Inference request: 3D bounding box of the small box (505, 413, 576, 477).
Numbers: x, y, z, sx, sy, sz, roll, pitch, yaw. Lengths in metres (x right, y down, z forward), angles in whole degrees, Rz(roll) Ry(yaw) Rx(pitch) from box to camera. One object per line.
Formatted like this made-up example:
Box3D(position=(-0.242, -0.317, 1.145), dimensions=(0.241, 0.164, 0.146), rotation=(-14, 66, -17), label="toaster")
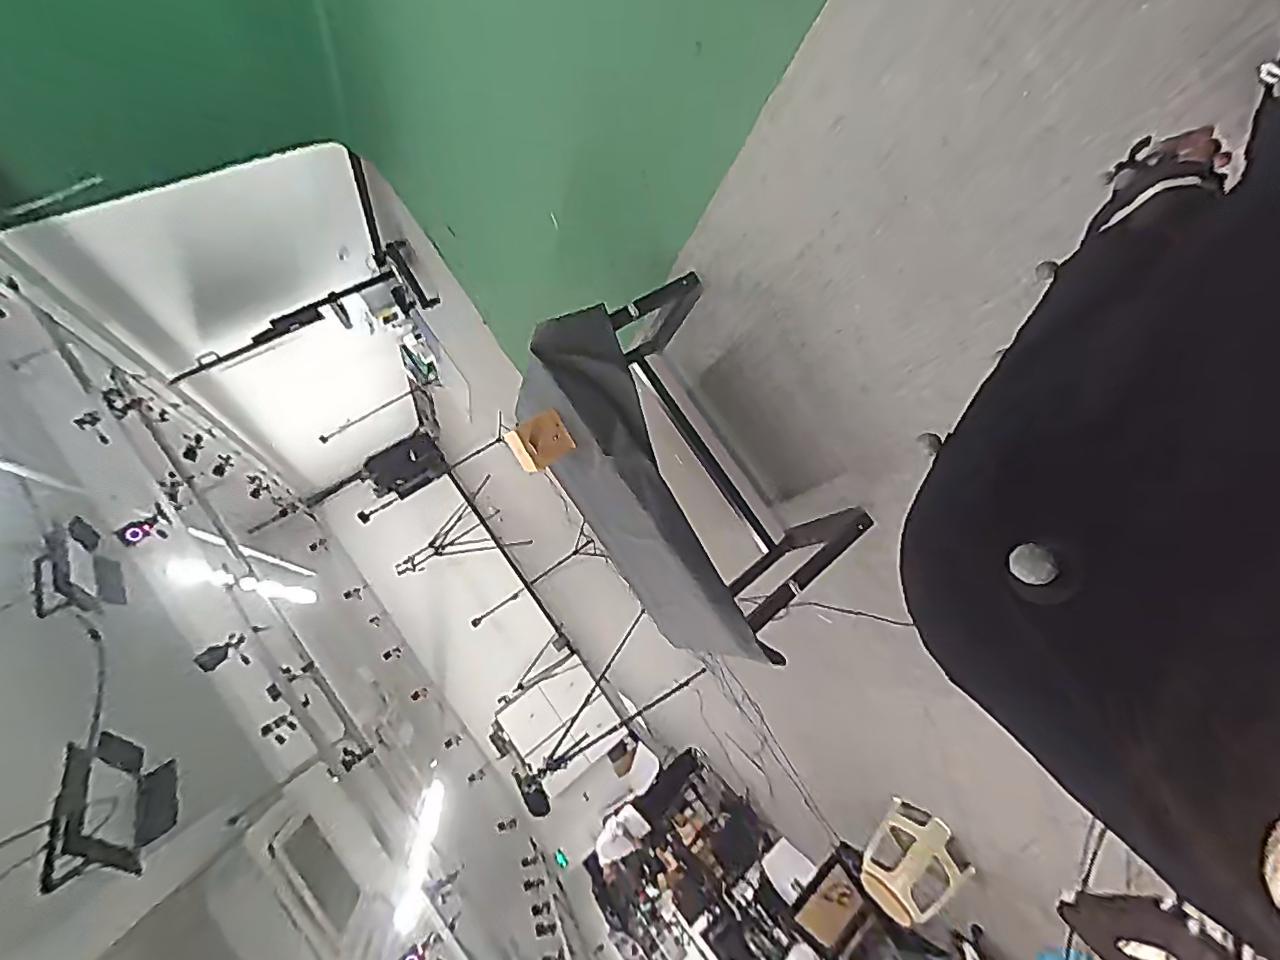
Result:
Box3D(position=(-0.355, -0.124, 1.940), dimensions=(0.168, 0.176, 0.179), rotation=(61, 156, -12), label="small box")
